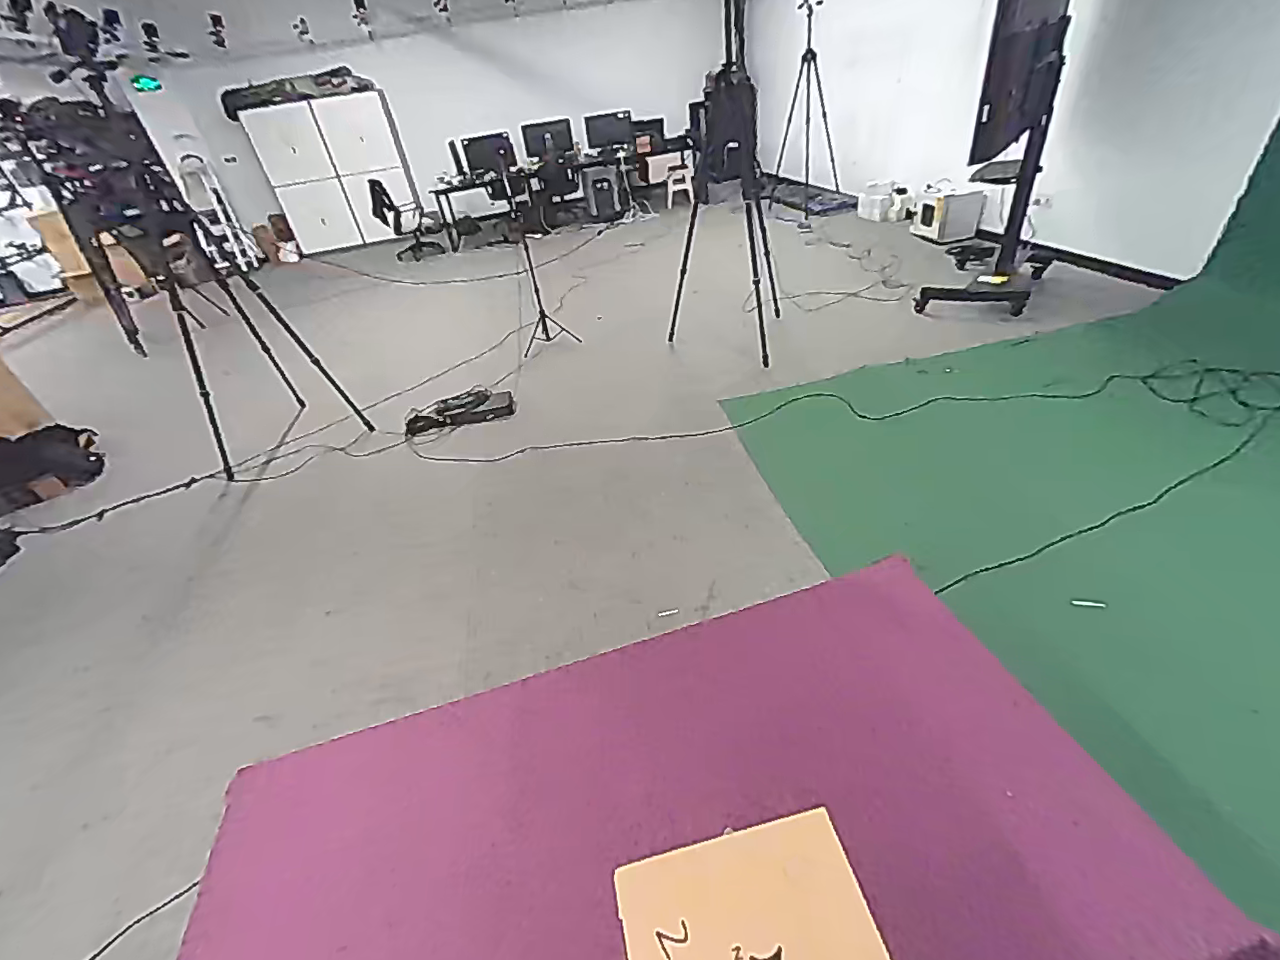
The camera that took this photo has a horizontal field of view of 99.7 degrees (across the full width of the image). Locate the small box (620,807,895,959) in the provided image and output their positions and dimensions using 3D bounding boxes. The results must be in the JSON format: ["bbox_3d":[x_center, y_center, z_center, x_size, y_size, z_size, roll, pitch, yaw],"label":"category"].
[{"bbox_3d":[0.093,0.387,0.417,0.179,0.176,0.168,-14,41,-3],"label":"small box"}]
